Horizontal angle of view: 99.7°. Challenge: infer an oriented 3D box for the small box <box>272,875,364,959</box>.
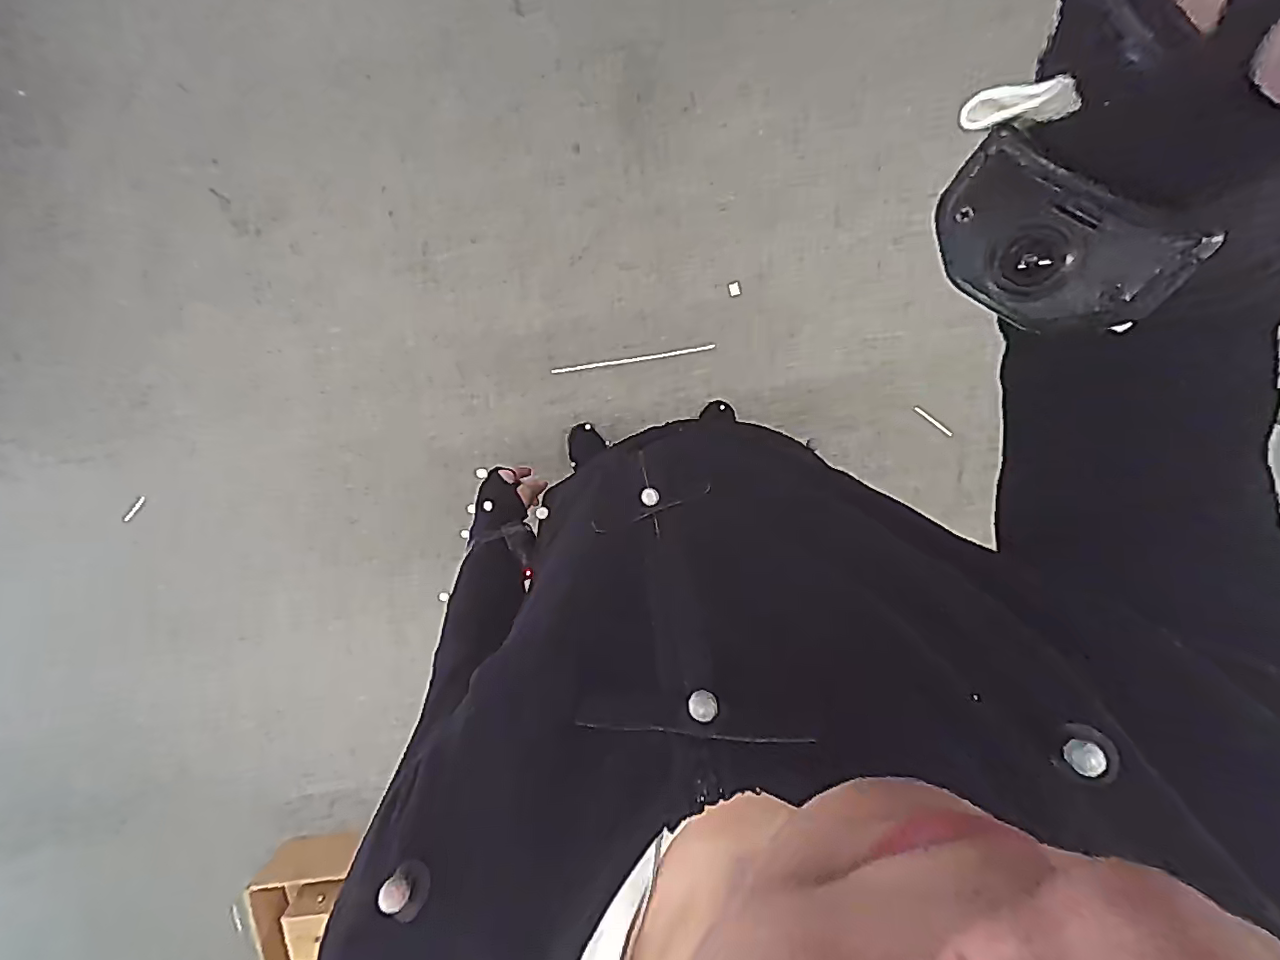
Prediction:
[{"bbox_3d":[-0.963,1.340,1.639,0.179,0.176,0.168,-5,98,0],"label":"small box"}]
